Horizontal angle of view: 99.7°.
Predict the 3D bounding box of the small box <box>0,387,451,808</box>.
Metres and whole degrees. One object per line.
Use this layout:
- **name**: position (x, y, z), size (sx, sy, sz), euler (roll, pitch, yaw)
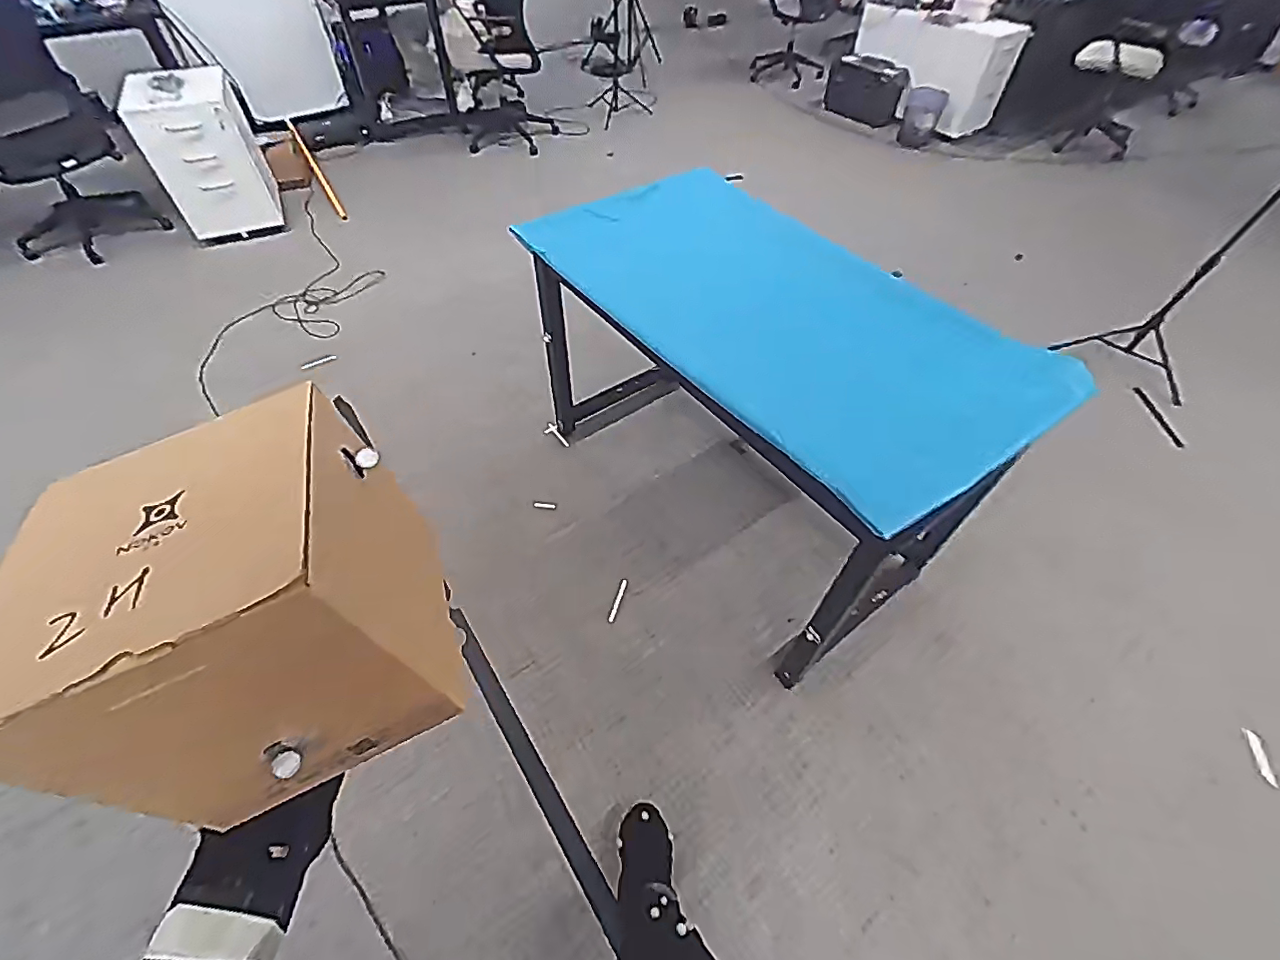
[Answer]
- **small box**: position (-0.241, 0.078, 0.348), size (0.168, 0.176, 0.179), euler (-23, 50, -3)
